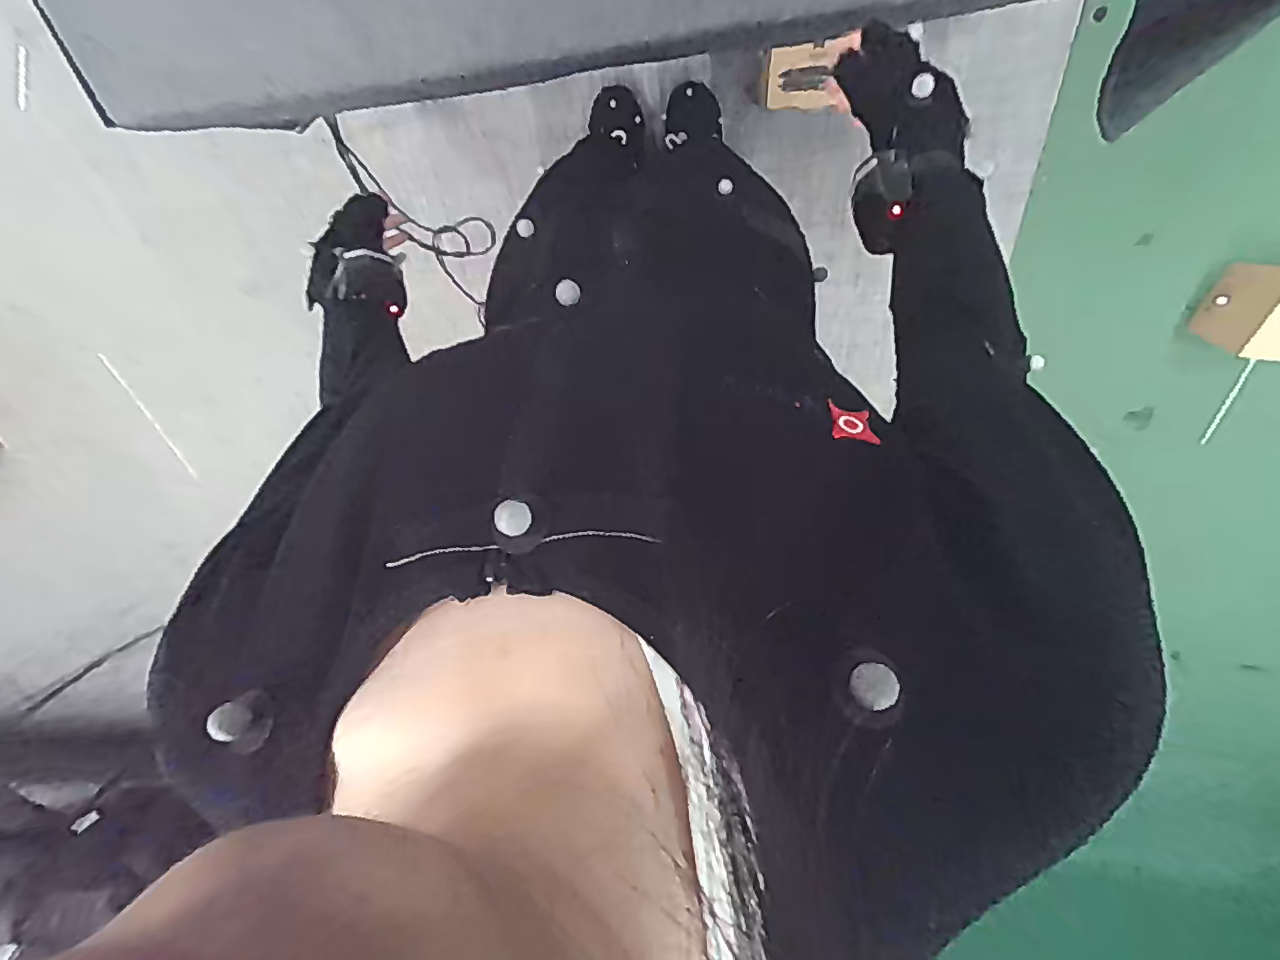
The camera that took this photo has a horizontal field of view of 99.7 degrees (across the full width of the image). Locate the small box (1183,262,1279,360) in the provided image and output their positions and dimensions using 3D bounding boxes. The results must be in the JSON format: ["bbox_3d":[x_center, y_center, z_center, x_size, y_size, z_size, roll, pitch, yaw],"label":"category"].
[{"bbox_3d":[1.427,-0.386,1.230,0.179,0.176,0.168,7,126,1],"label":"small box"}]
